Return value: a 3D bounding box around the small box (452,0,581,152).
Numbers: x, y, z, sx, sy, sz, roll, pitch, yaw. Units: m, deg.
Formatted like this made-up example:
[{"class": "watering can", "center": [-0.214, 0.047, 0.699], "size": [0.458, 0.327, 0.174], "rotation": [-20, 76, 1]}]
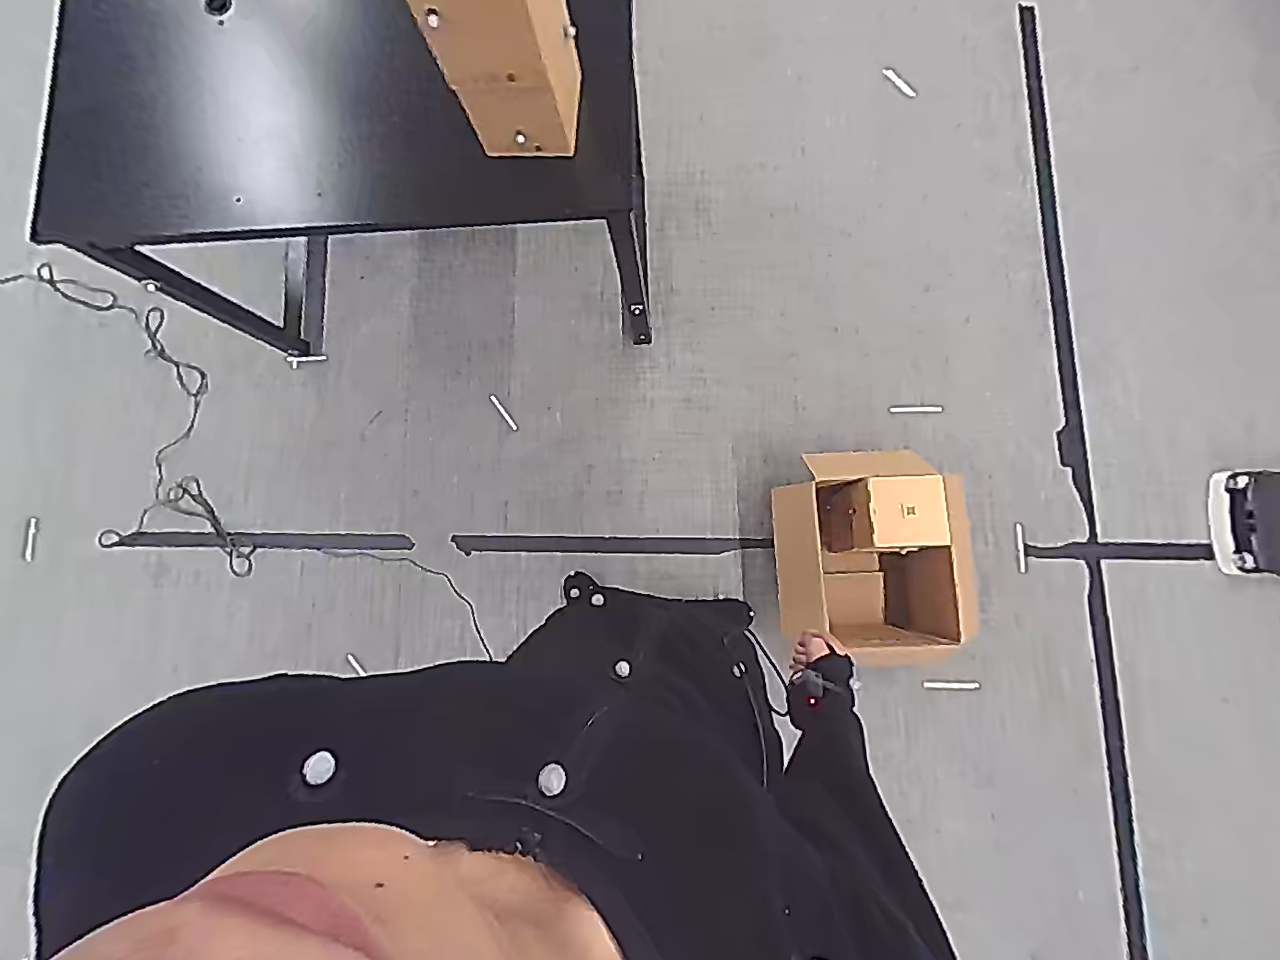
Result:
[{"class": "small box", "center": [-0.201, -0.706, 0.930], "size": [0.168, 0.176, 0.179], "rotation": [4, 84, 6]}]
